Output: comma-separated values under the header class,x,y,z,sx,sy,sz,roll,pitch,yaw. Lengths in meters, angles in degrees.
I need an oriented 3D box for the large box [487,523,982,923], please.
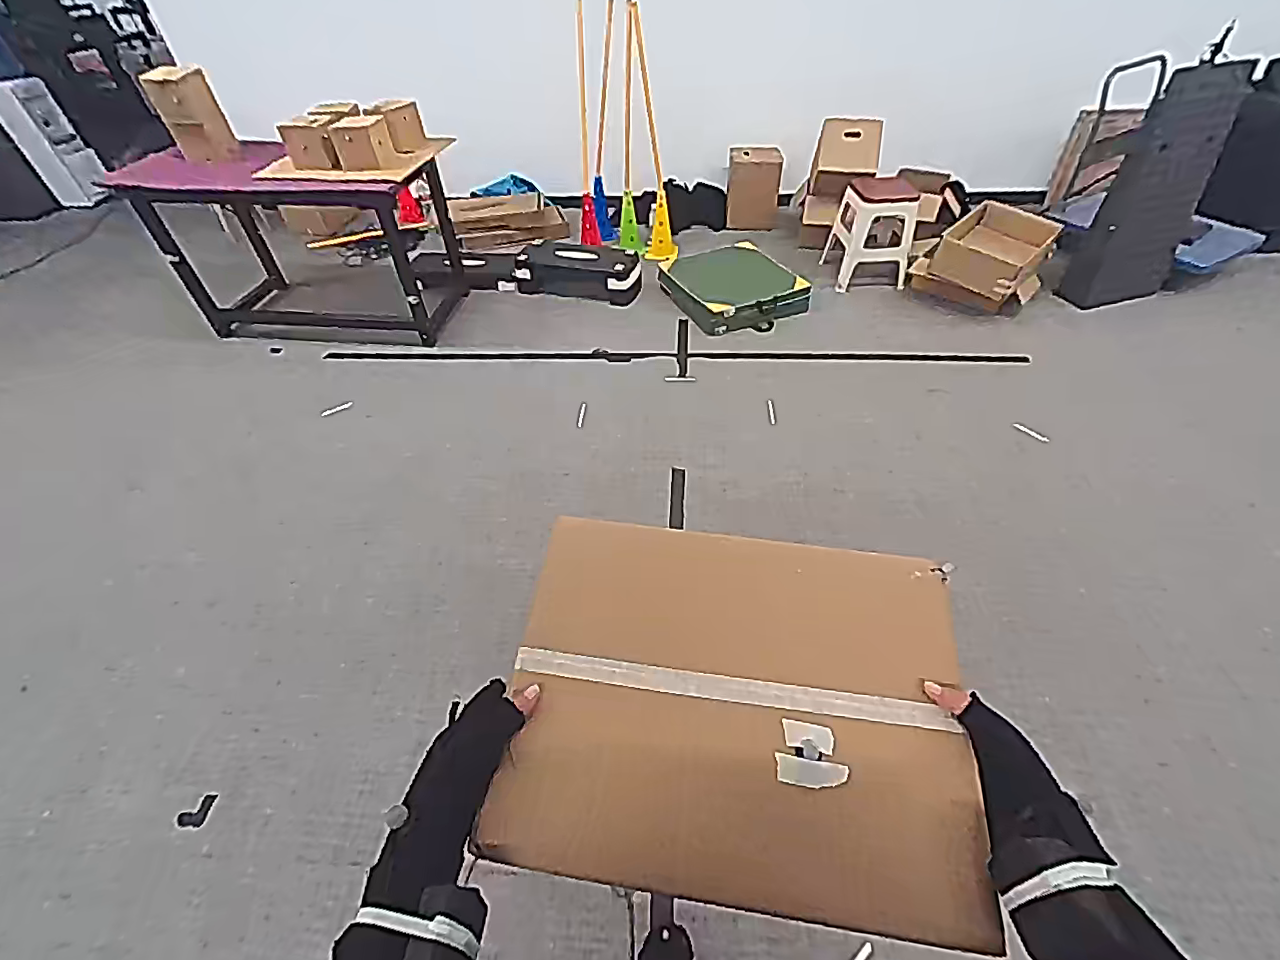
class,x,y,z,sx,sy,sz,roll,pitch,yaw
large box,0.088,0.275,0.633,0.408,0.320,0.320,7,58,5
